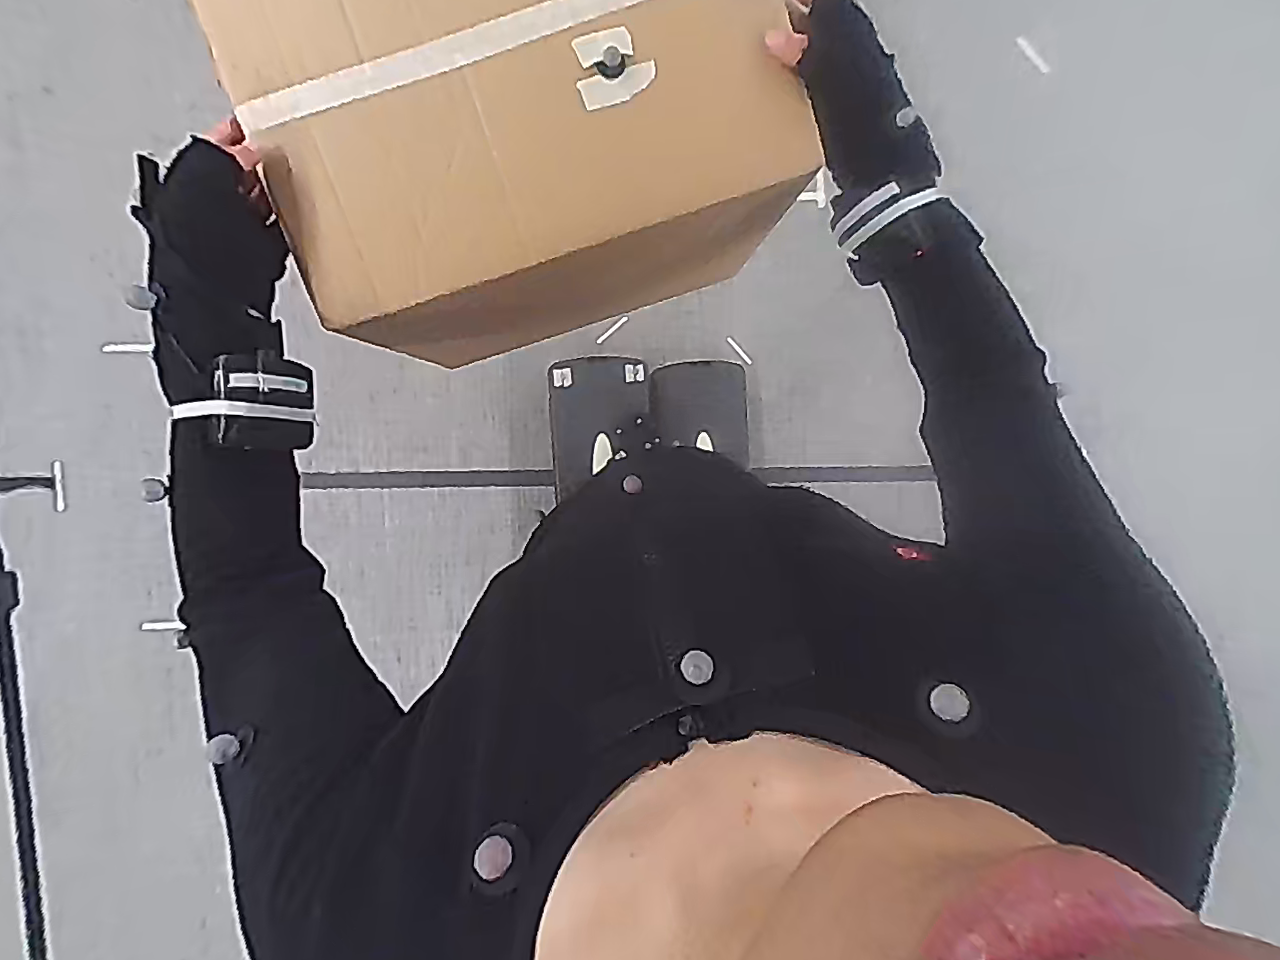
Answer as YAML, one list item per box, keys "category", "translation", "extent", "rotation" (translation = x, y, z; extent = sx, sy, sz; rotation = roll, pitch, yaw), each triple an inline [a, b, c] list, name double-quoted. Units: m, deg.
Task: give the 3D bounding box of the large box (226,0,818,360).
- category: "large box"
  translation: [-0.100, -0.349, 0.558]
  extent: [0.408, 0.320, 0.320]
  rotation: [-18, 97, -1]

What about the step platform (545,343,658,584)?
- category: "step platform"
  translation: [-0.109, -0.045, 1.568]
  extent: [0.286, 0.204, 0.684]
  rotation: [-4, 92, -4]
